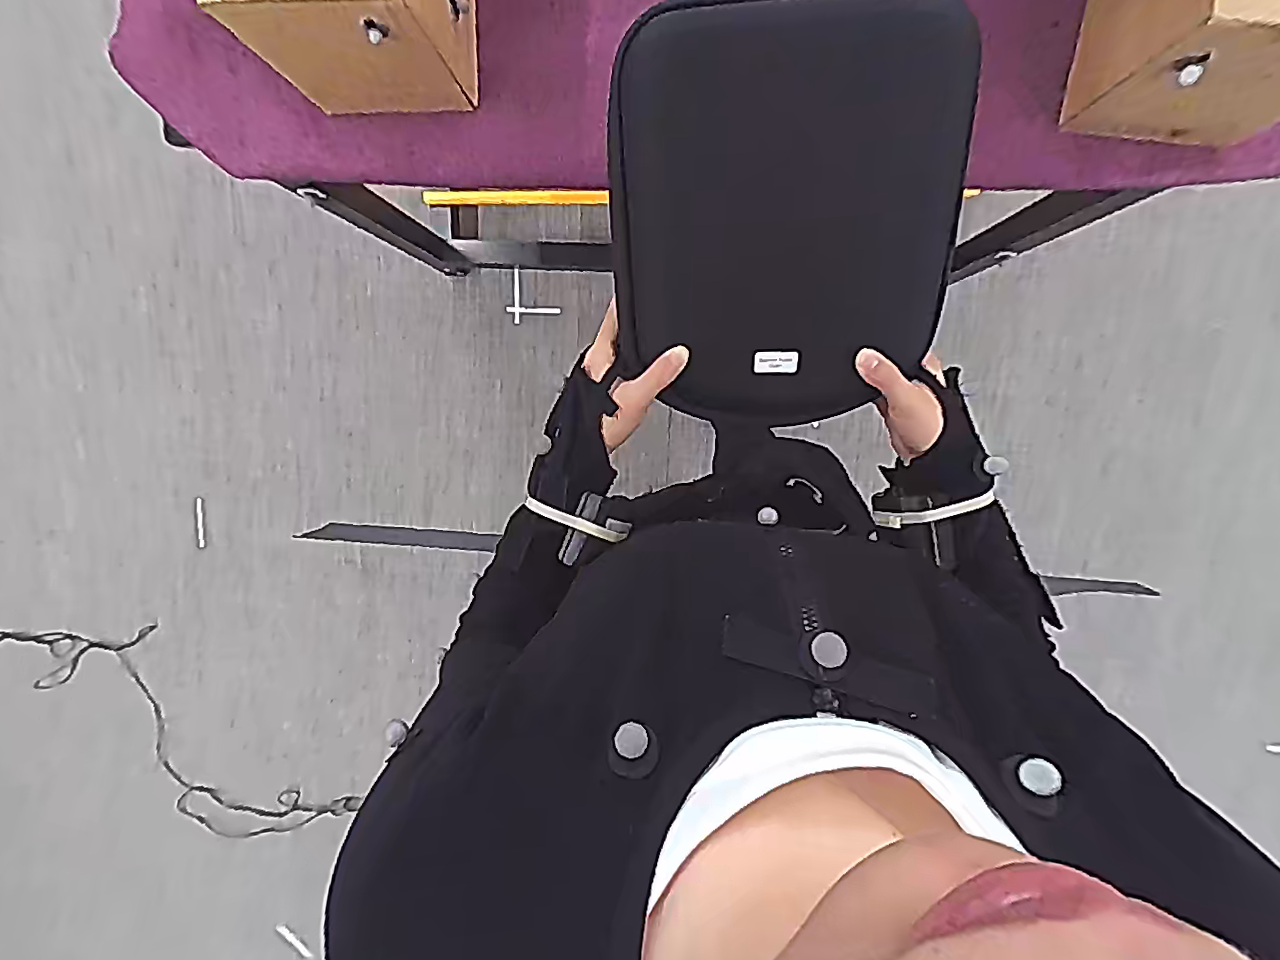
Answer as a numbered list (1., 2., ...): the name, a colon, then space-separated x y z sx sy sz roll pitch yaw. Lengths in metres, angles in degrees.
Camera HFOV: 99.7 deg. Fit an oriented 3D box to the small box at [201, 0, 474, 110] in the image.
1. small box: -0.272 -0.479 0.508 0.179 0.176 0.168 0 97 3
